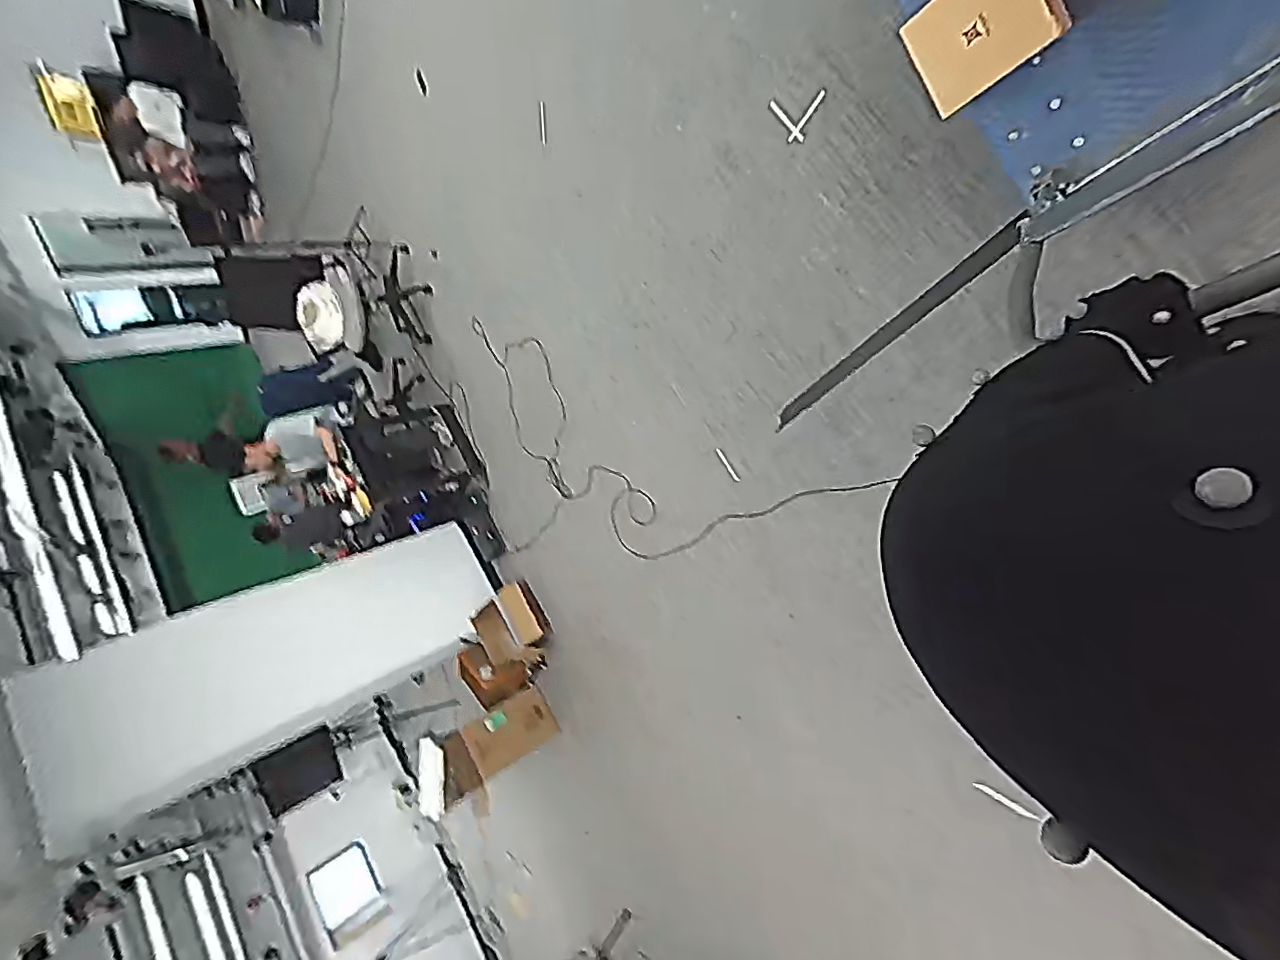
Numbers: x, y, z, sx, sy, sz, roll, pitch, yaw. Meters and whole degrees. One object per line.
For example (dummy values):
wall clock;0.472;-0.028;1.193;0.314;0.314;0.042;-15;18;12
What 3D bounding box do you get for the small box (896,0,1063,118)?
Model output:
small box;0.570;-0.754;0.906;0.179;0.176;0.168;-23;107;50
